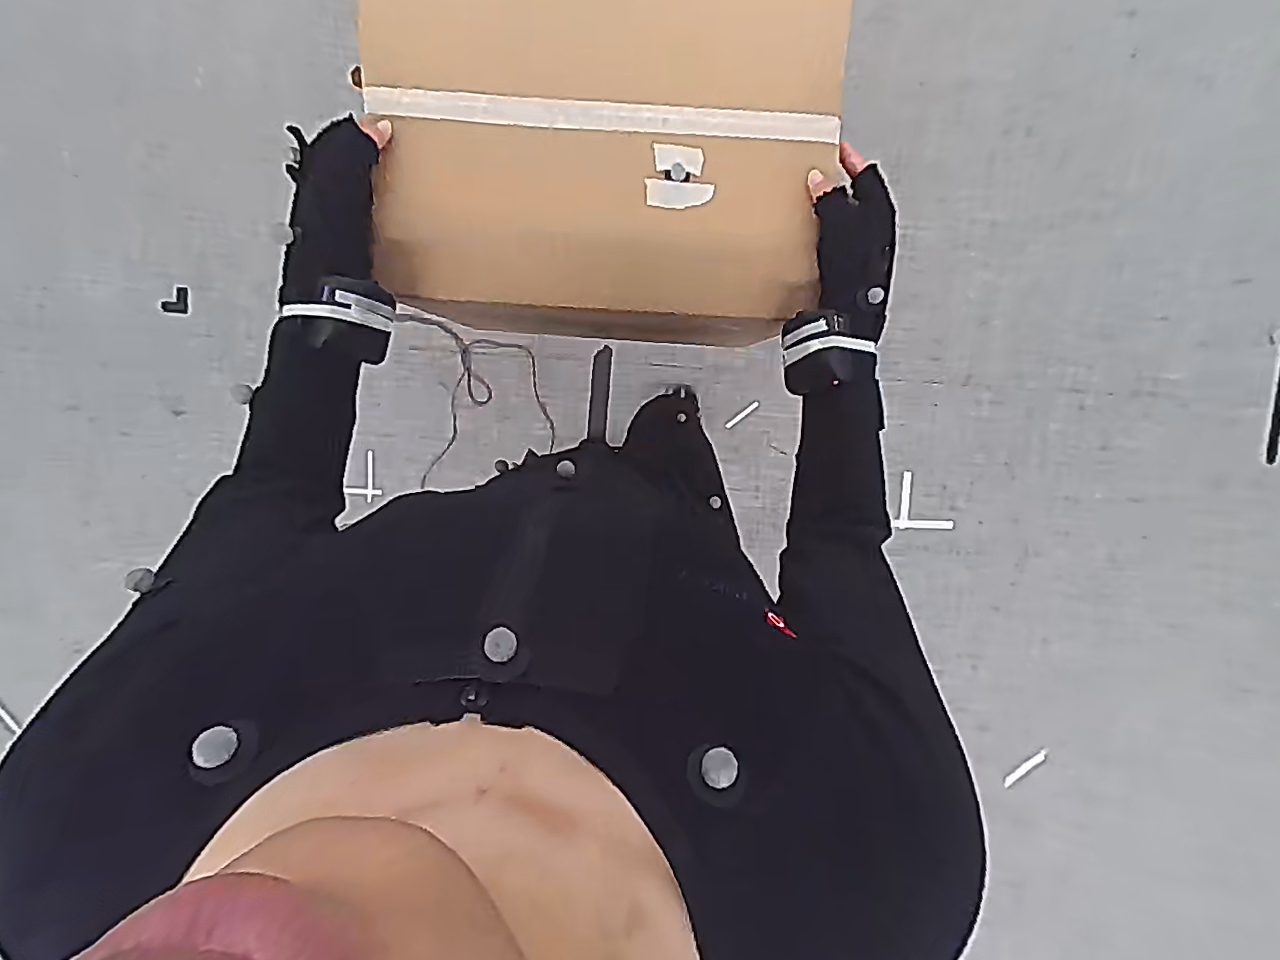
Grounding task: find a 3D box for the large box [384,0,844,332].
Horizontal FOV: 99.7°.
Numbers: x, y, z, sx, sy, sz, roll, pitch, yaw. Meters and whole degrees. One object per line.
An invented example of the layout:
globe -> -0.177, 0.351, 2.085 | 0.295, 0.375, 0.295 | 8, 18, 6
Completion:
large box -> -0.029, -0.352, 0.627 | 0.408, 0.320, 0.320 | 3, 101, -2
